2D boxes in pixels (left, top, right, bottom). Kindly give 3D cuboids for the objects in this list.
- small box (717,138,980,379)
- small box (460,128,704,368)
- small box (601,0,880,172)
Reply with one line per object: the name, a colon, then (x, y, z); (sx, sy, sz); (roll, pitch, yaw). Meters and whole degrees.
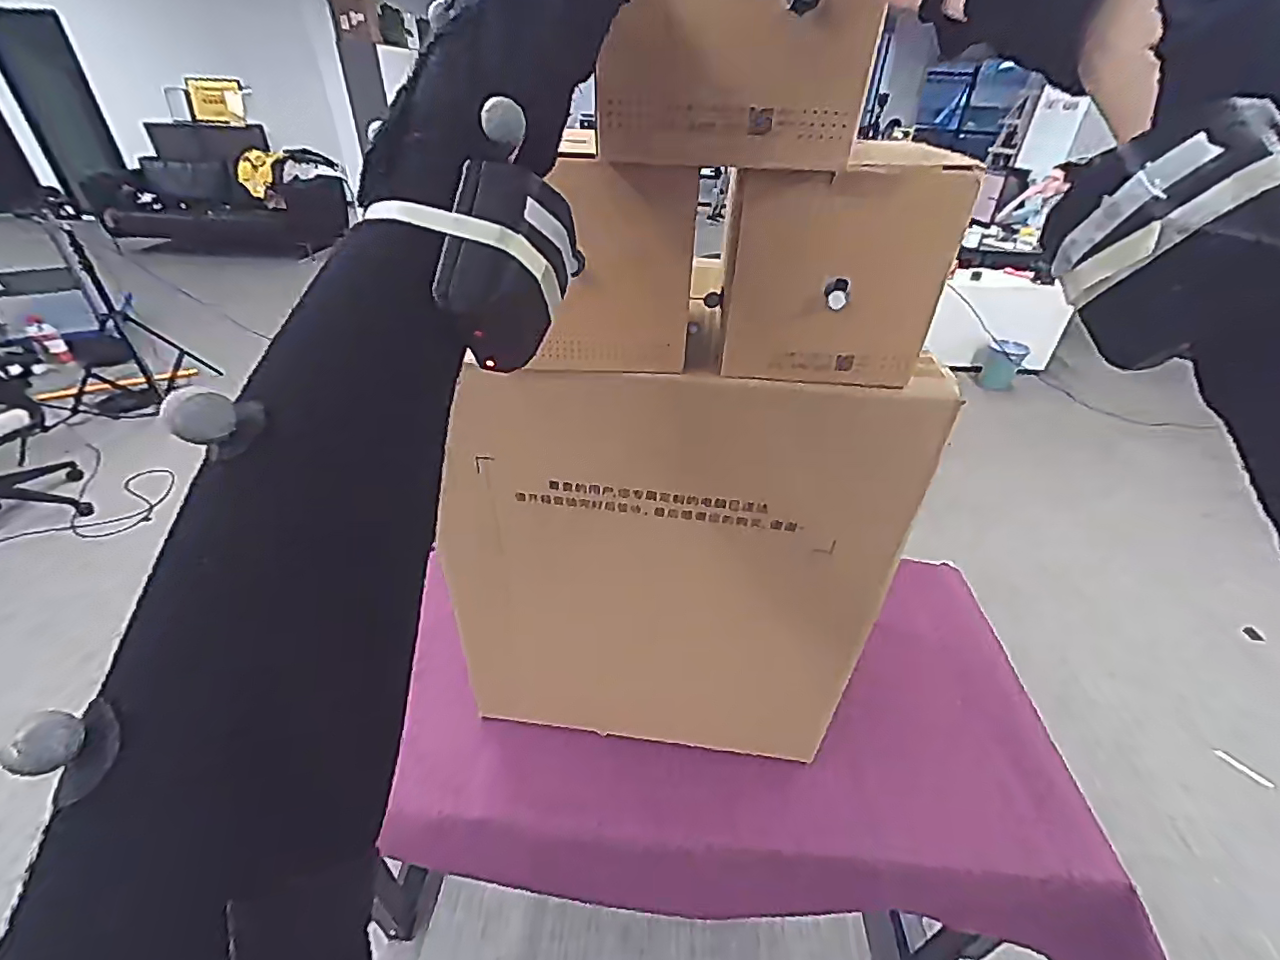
small box: (0.163, -0.205, 0.493); (0.168, 0.176, 0.179); (5, 38, 3)
small box: (-0.043, -0.211, 0.494); (0.179, 0.176, 0.168); (0, 37, -1)
small box: (0.064, -0.322, 0.376); (0.168, 0.176, 0.179); (5, 37, 1)
